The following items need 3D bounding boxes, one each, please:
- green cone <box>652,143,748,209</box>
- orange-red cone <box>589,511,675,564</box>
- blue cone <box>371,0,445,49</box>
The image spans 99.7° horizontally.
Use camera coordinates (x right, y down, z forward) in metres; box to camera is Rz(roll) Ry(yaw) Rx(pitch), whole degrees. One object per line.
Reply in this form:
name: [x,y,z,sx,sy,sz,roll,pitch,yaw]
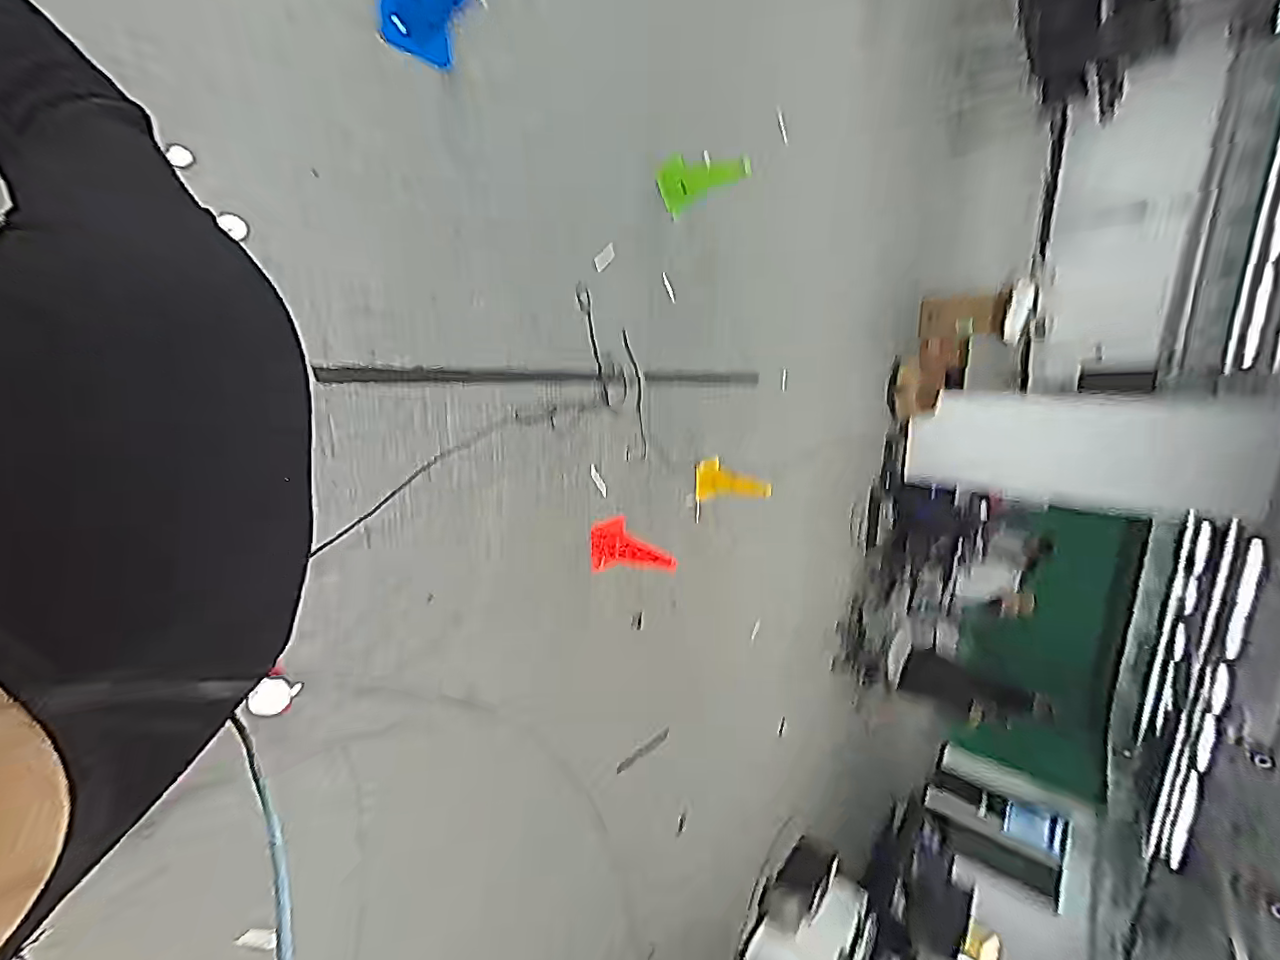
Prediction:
green cone: [0.263,-1.247,2.144,0.200,0.368,0.202,-55,133,-28]
orange-red cone: [-0.010,0.266,2.170,0.199,0.360,0.198,-18,113,-48]
blue cone: [-0.478,-1.220,1.288,0.193,0.380,0.192,-9,104,-49]
